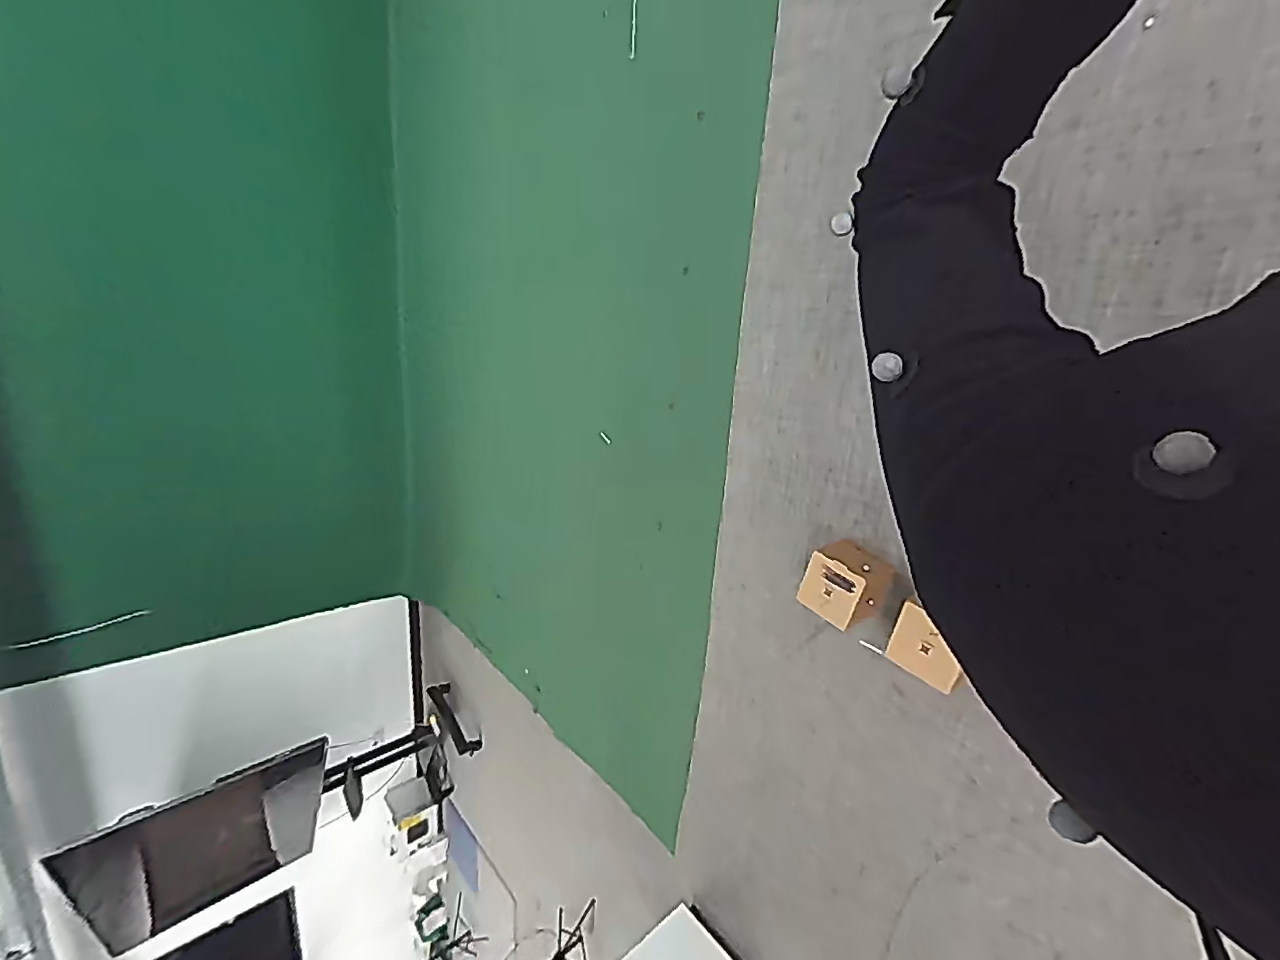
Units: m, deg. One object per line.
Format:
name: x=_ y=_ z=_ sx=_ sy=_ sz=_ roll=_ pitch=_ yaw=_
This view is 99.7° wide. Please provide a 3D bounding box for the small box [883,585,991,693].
small box: x=0.751 y=0.392 z=1.364 sx=0.168 sy=0.176 sz=0.179 roll=30 pitch=116 yaw=41
